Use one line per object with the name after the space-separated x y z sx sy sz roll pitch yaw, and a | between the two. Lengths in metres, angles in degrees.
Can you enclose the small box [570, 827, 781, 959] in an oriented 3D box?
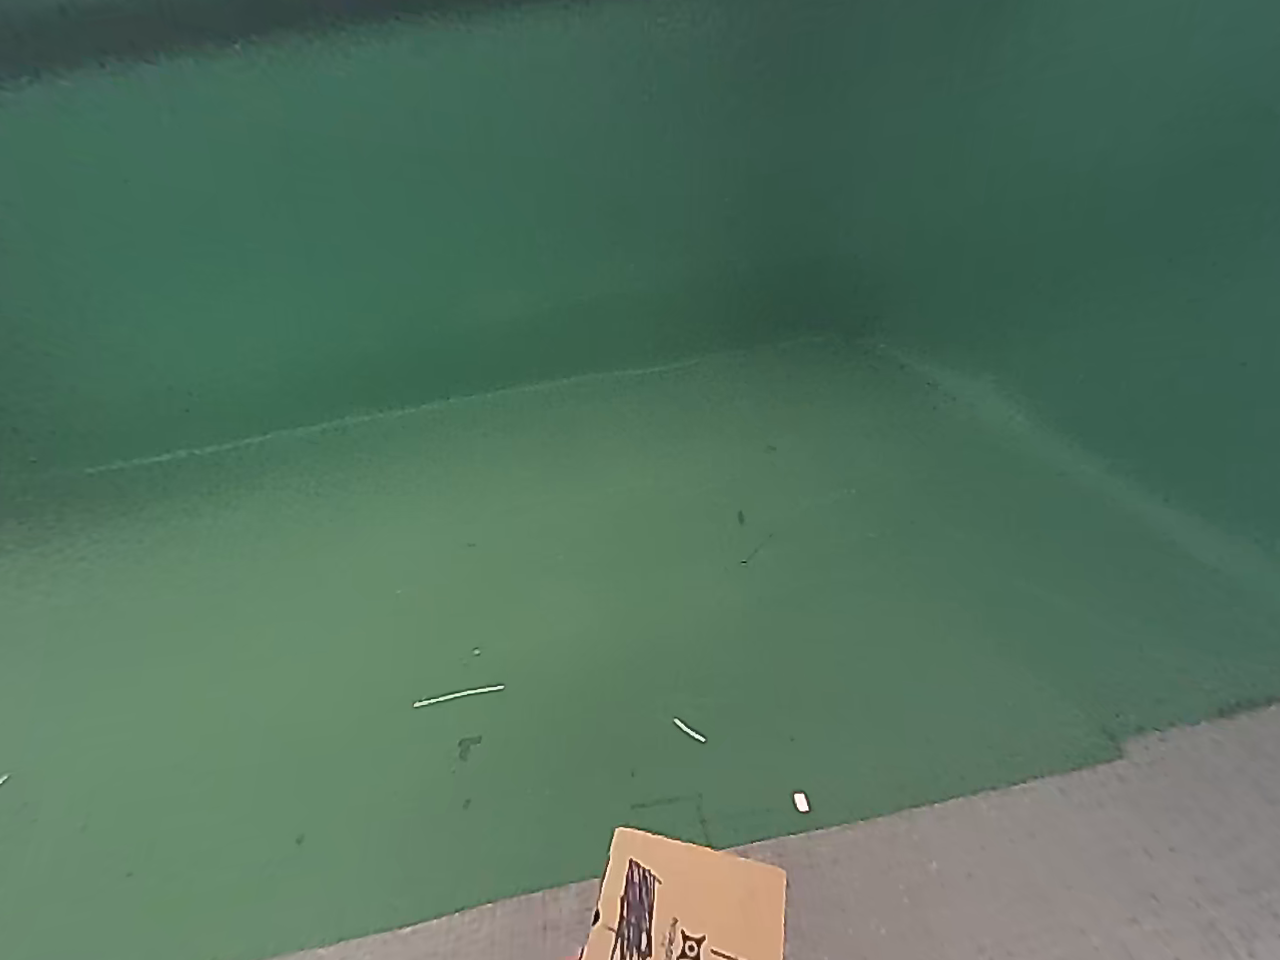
0.036 0.476 0.516 0.179 0.176 0.168 5 33 14 | small box
